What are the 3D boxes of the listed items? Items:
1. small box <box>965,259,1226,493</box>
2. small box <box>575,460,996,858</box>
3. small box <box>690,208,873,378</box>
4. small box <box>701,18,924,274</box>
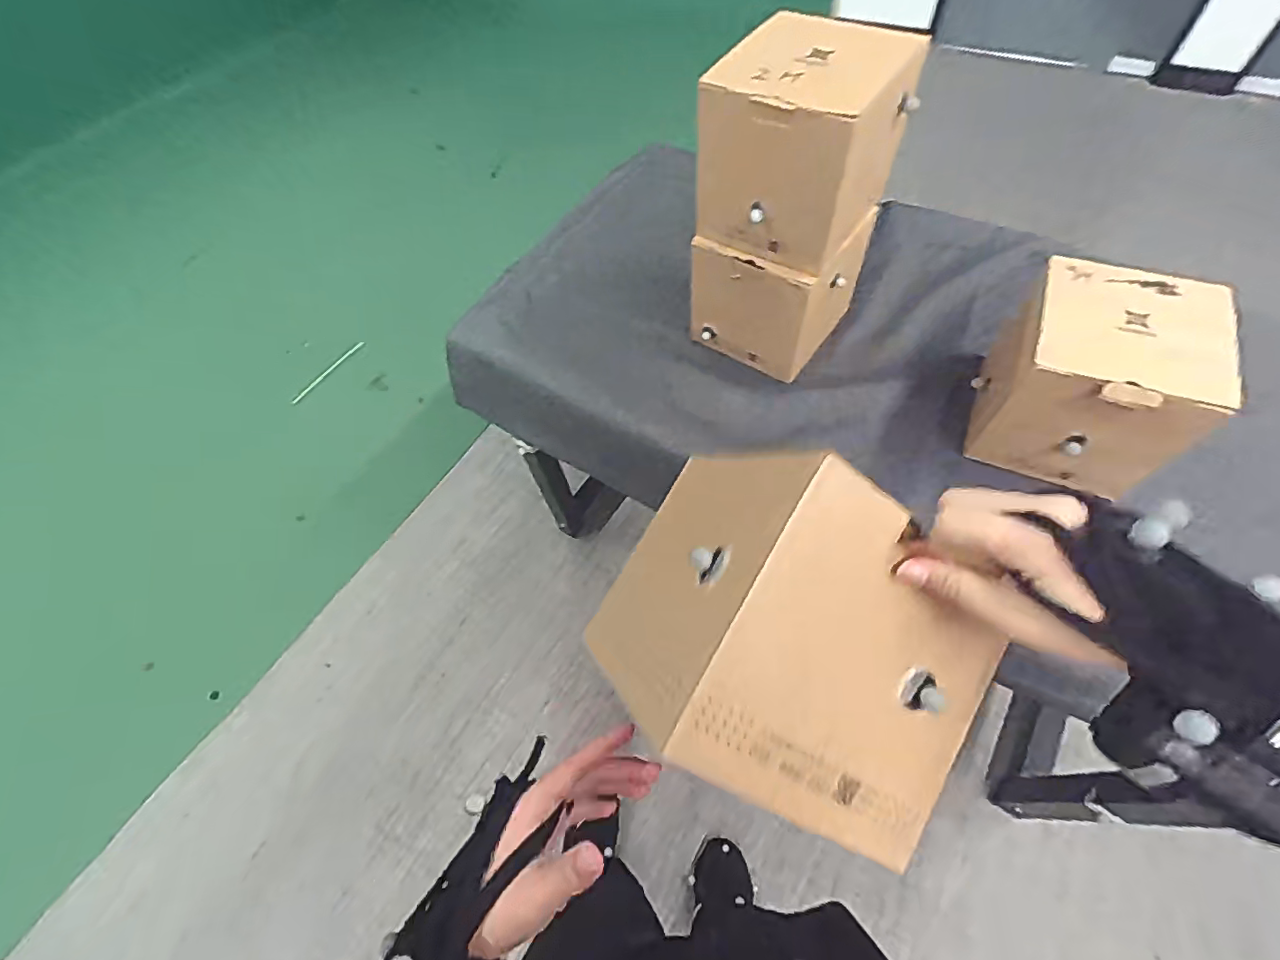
[{"bbox_3d":[0.496,-0.111,0.612,0.168,0.176,0.179,20,64,17],"label":"small box"},{"bbox_3d":[0.079,0.102,0.362,0.168,0.179,0.176,34,79,-16],"label":"small box"},{"bbox_3d":[0.184,-0.272,0.739,0.168,0.176,0.179,32,66,21],"label":"small box"},{"bbox_3d":[0.178,-0.369,0.605,0.168,0.176,0.179,29,66,21],"label":"small box"}]
